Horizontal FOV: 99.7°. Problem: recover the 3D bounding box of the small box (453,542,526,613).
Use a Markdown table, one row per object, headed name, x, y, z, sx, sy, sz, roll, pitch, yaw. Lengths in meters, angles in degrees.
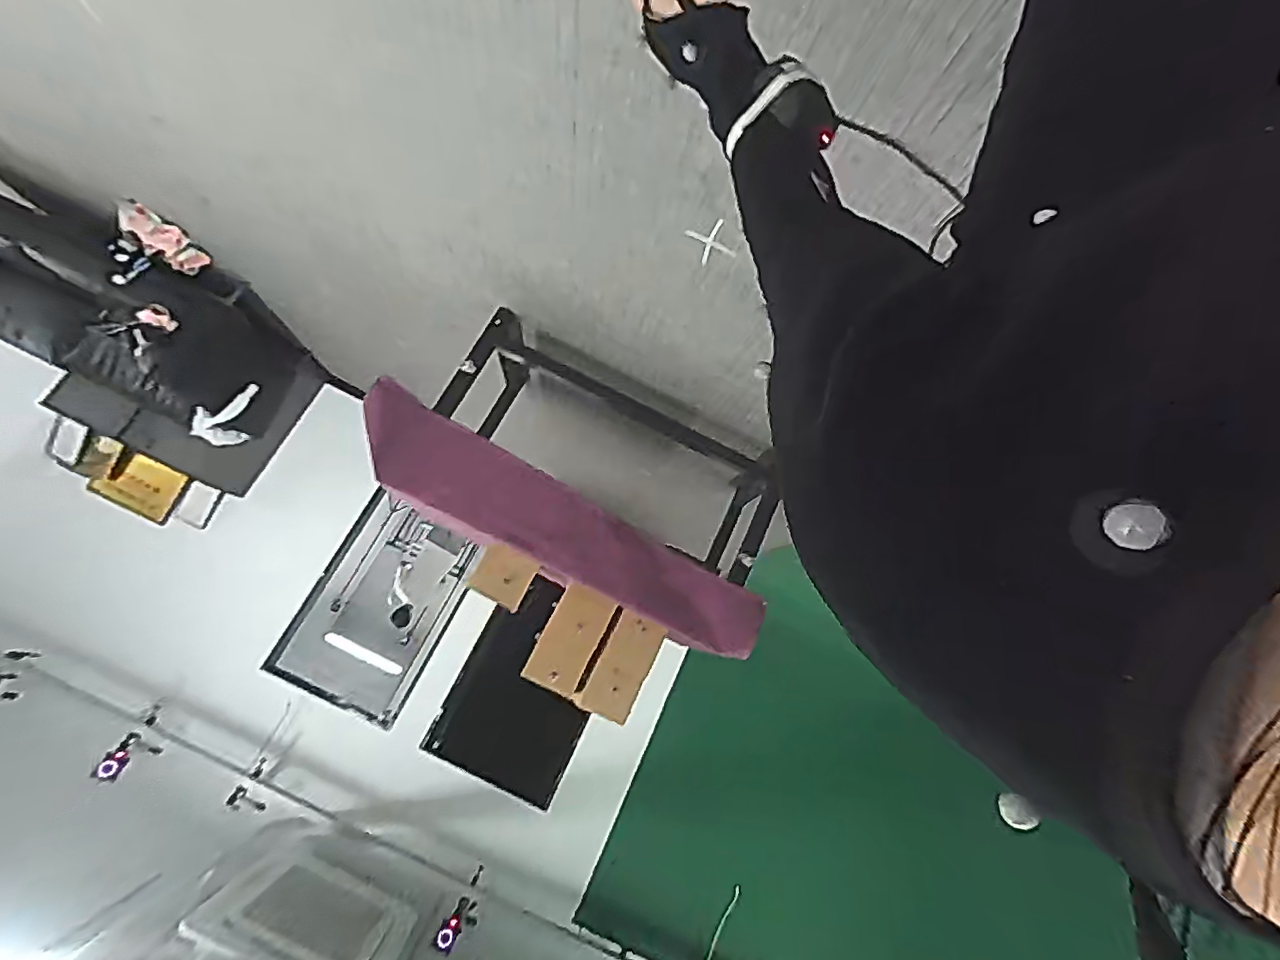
| name | x | y | z | sx | sy | sz | roll | pitch | yaw |
| --- | --- | --- | --- | --- | --- | --- | --- | --- | --- |
| small box | -0.492 | 0.319 | 1.777 | 0.179 | 0.176 | 0.168 | 29 | 162 | -9 |
